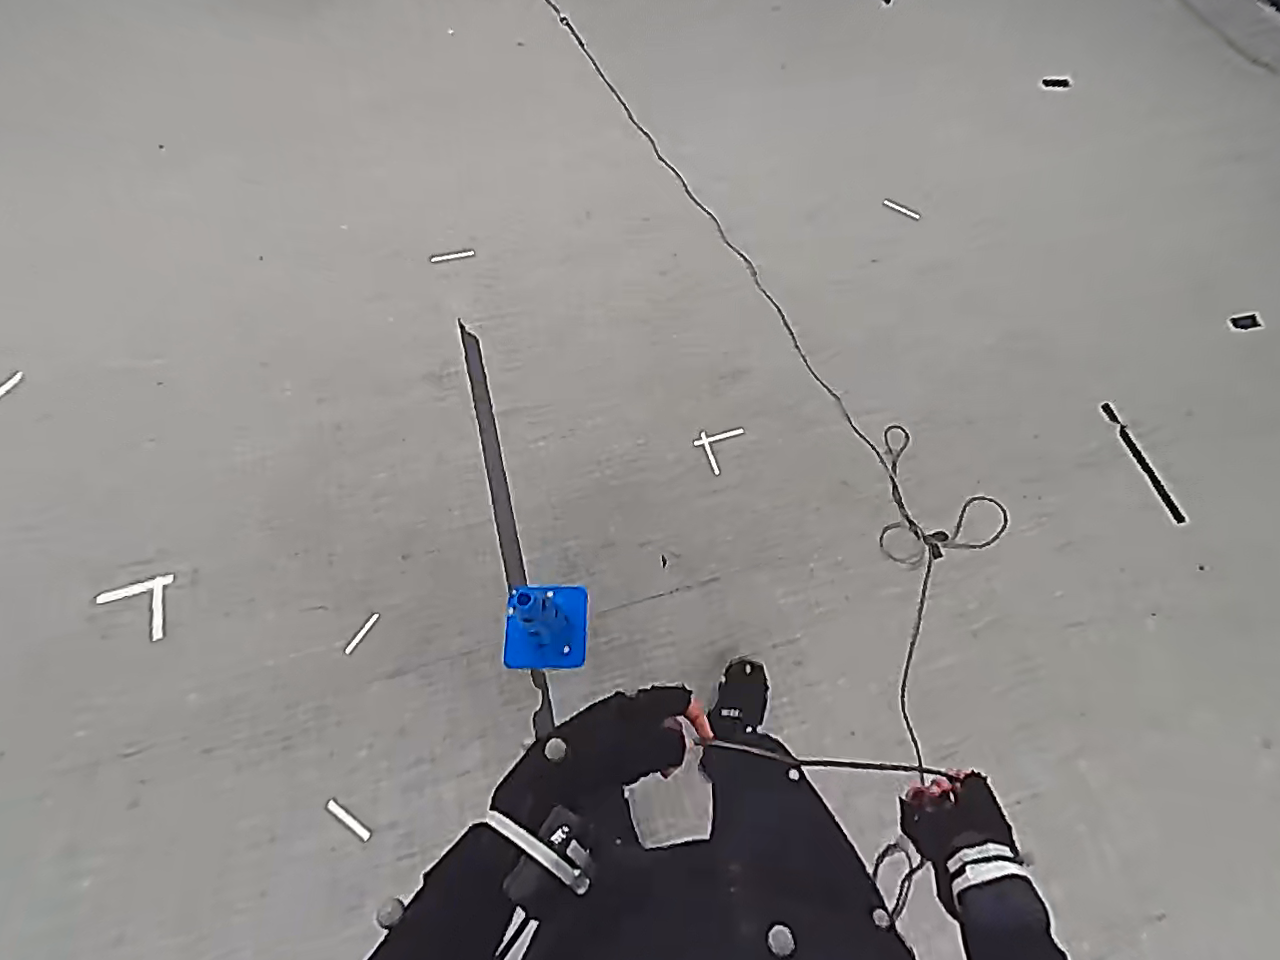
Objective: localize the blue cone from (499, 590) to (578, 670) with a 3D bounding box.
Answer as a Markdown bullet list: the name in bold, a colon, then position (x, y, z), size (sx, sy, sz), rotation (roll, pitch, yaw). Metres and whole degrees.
- **blue cone**: position (-0.245, 0.307, 1.194), size (0.192, 0.380, 0.193), rotation (1, 66, -1)
